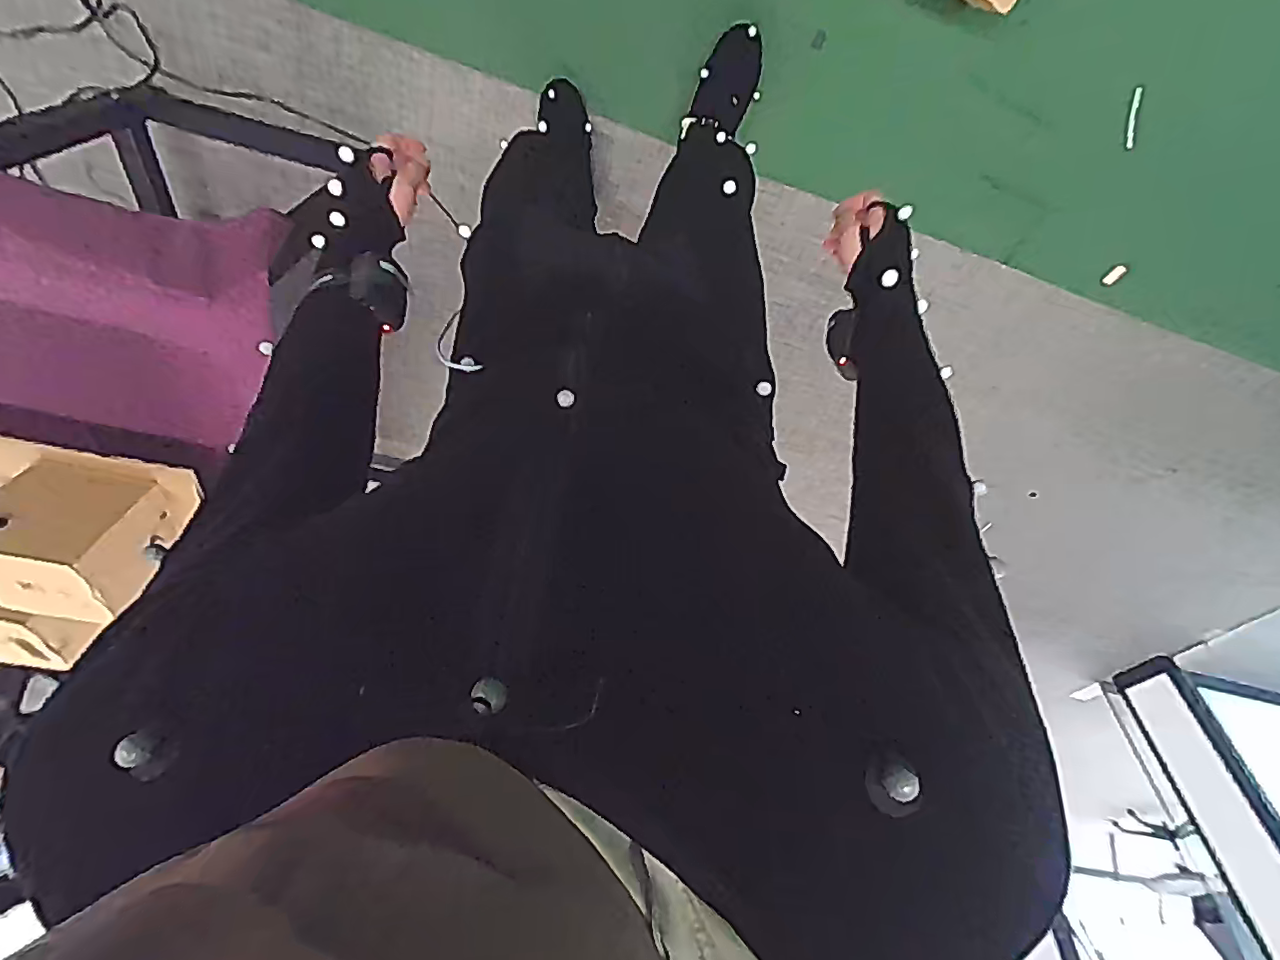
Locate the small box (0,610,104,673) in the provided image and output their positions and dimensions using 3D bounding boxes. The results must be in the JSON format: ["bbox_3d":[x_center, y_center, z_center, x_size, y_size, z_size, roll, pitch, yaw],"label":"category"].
[{"bbox_3d":[-1.077,0.215,0.955,0.179,0.176,0.168,12,133,-6],"label":"small box"}]

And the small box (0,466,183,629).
[{"bbox_3d":[-0.871,0.100,0.831,0.179,0.176,0.168,12,133,-8],"label":"small box"}]
